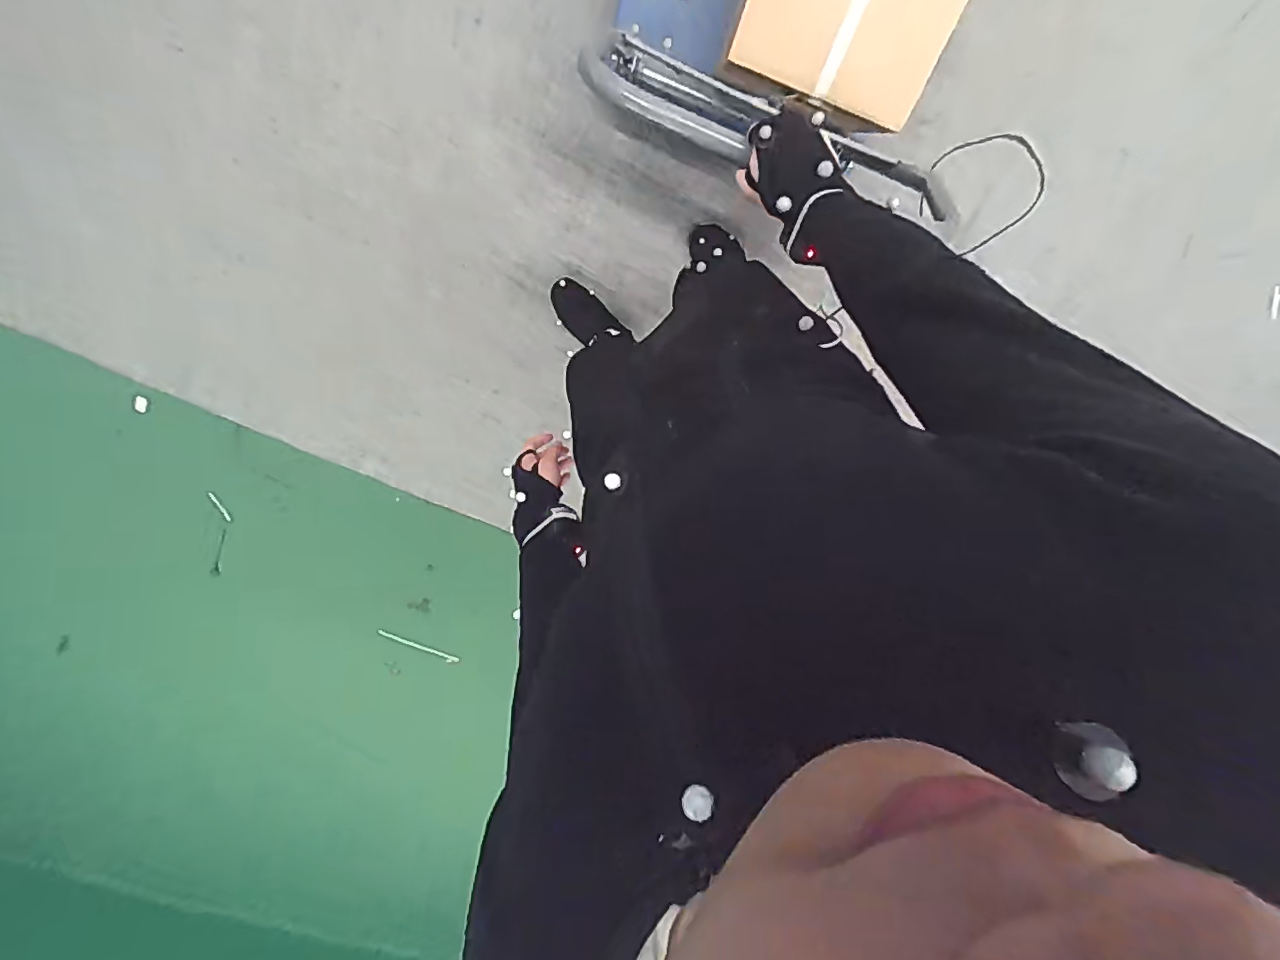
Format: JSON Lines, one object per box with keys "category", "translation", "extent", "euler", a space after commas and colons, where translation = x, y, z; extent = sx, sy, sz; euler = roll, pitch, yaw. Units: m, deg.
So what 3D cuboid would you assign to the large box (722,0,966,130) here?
{"category": "large box", "translation": [0.359, -0.863, 0.902], "extent": [0.320, 0.320, 0.408], "euler": [17, 122, -9]}
